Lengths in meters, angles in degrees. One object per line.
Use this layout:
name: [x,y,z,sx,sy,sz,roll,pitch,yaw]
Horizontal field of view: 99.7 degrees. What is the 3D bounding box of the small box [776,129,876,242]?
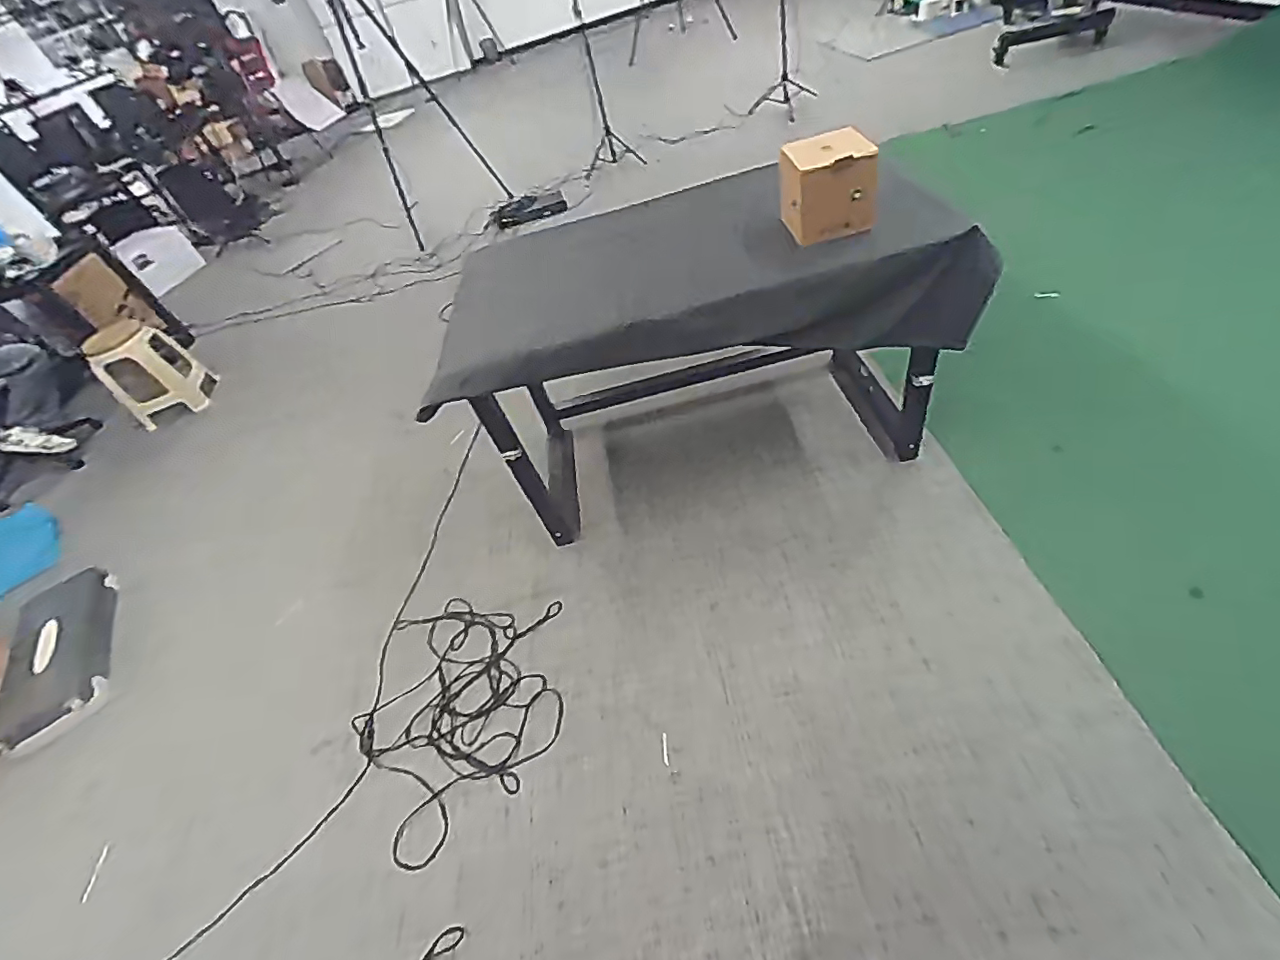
small box: [0.416,-0.660,1.226,0.168,0.176,0.179,-12,45,5]
